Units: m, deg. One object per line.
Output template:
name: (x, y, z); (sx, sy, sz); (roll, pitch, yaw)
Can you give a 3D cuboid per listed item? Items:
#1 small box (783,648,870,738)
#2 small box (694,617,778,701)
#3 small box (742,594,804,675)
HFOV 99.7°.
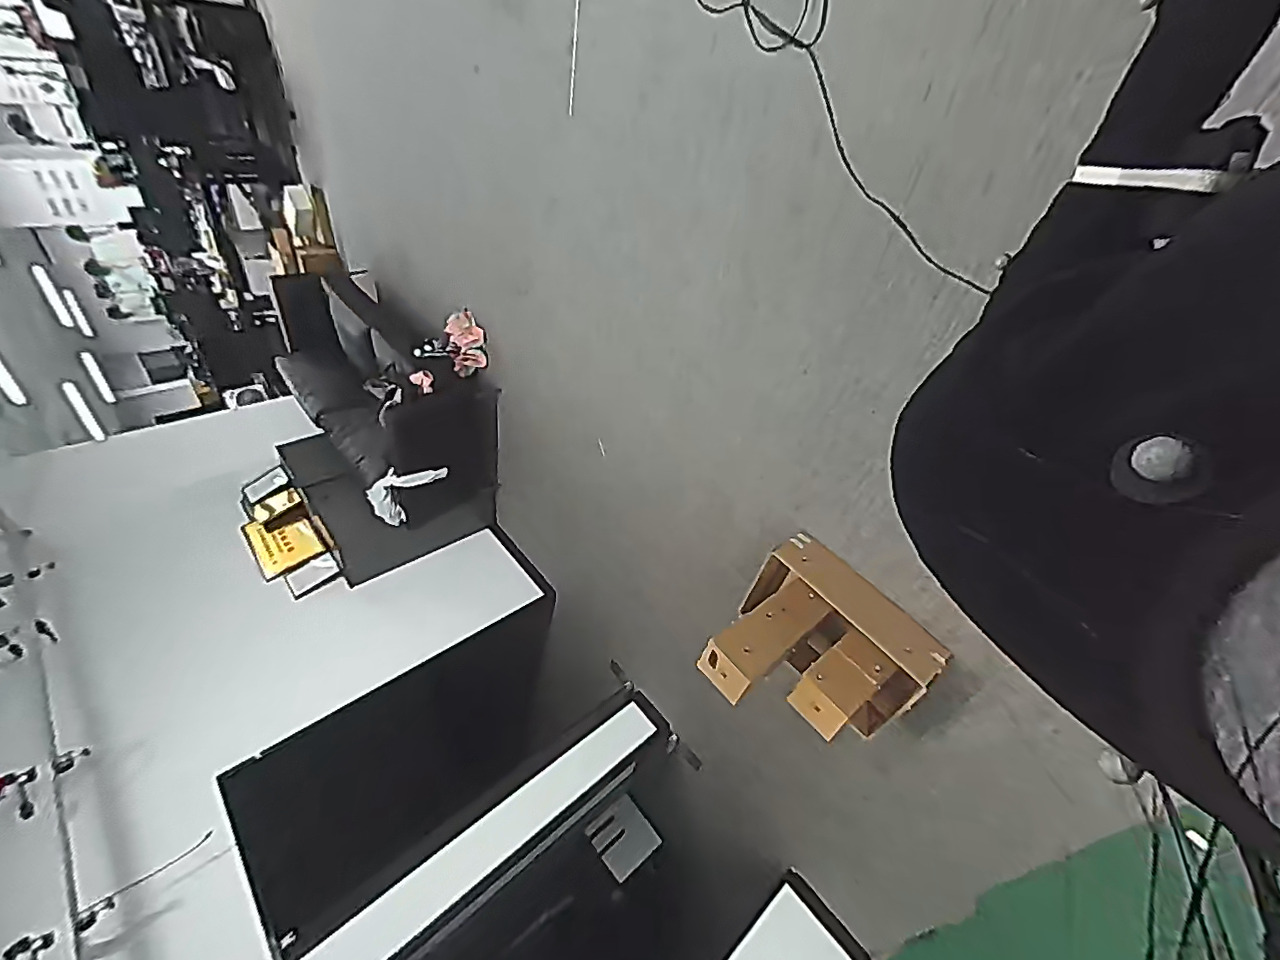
small box: (0.599, 0.675, 1.730); (0.179, 0.176, 0.168); (43, 138, 31)
small box: (0.312, 0.572, 1.757); (0.179, 0.176, 0.168); (43, 138, 27)
small box: (0.435, 0.525, 1.854); (0.168, 0.176, 0.179); (43, 138, 28)
